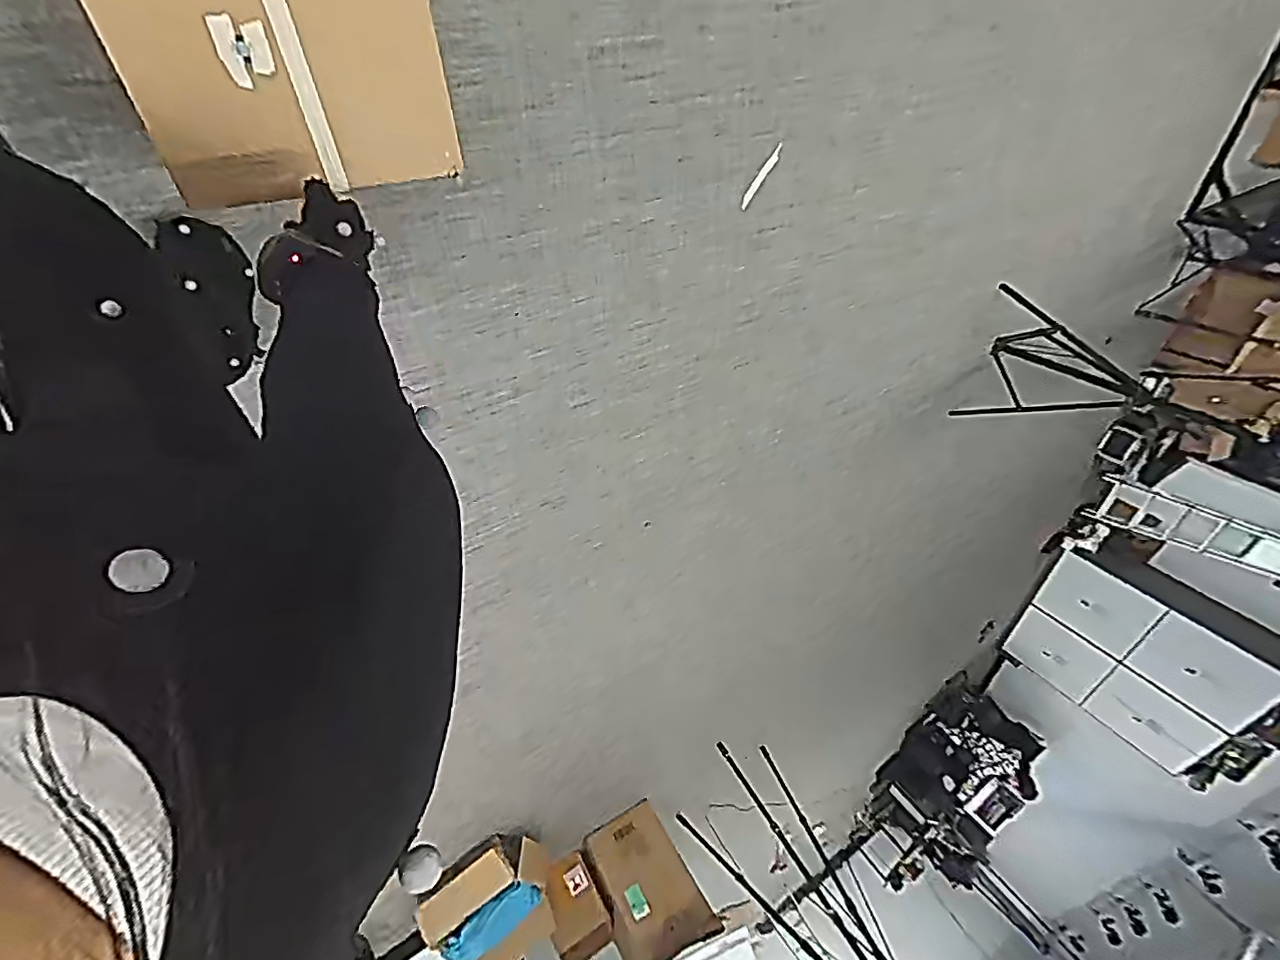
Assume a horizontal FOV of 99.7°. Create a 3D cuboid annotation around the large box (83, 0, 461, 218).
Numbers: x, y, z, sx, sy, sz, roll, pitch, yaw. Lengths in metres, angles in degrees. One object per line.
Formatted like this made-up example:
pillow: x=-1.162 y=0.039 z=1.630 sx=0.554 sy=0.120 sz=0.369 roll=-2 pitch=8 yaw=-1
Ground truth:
large box: x=-0.459 y=-0.581 z=0.640 sx=0.320 sy=0.320 sz=0.408 roll=-23 pitch=134 yaw=-23
